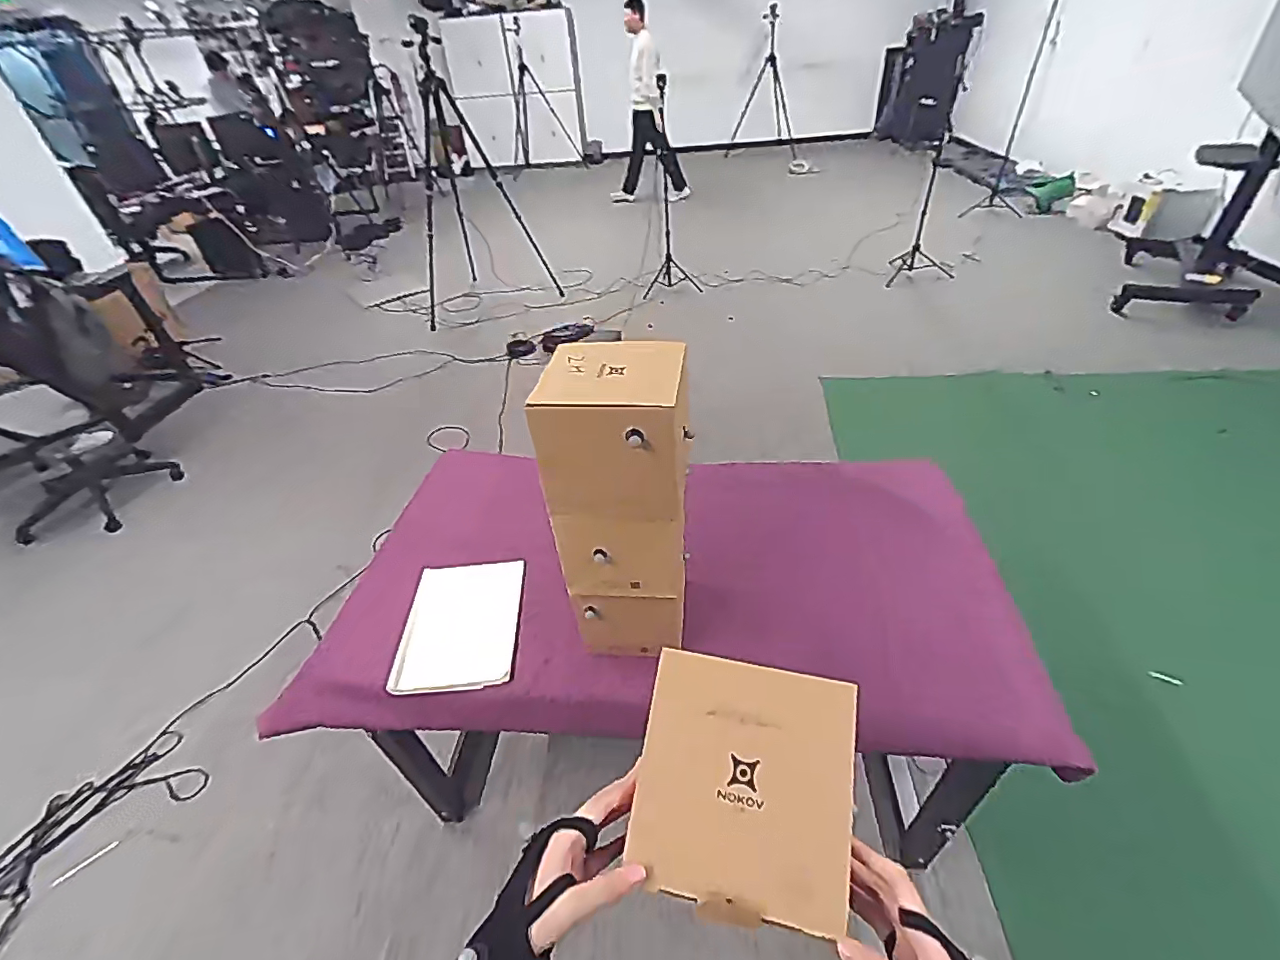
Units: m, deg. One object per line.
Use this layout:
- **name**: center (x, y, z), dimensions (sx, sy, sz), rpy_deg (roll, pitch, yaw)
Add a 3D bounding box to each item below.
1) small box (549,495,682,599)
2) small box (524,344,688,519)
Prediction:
- **small box**: center (-0.025, 0.061, 0.816), dimensions (0.168, 0.176, 0.179), rpy_deg (0, 38, 7)
- **small box**: center (-0.029, -0.064, 0.708), dimensions (0.179, 0.176, 0.168), rpy_deg (2, 38, 9)
